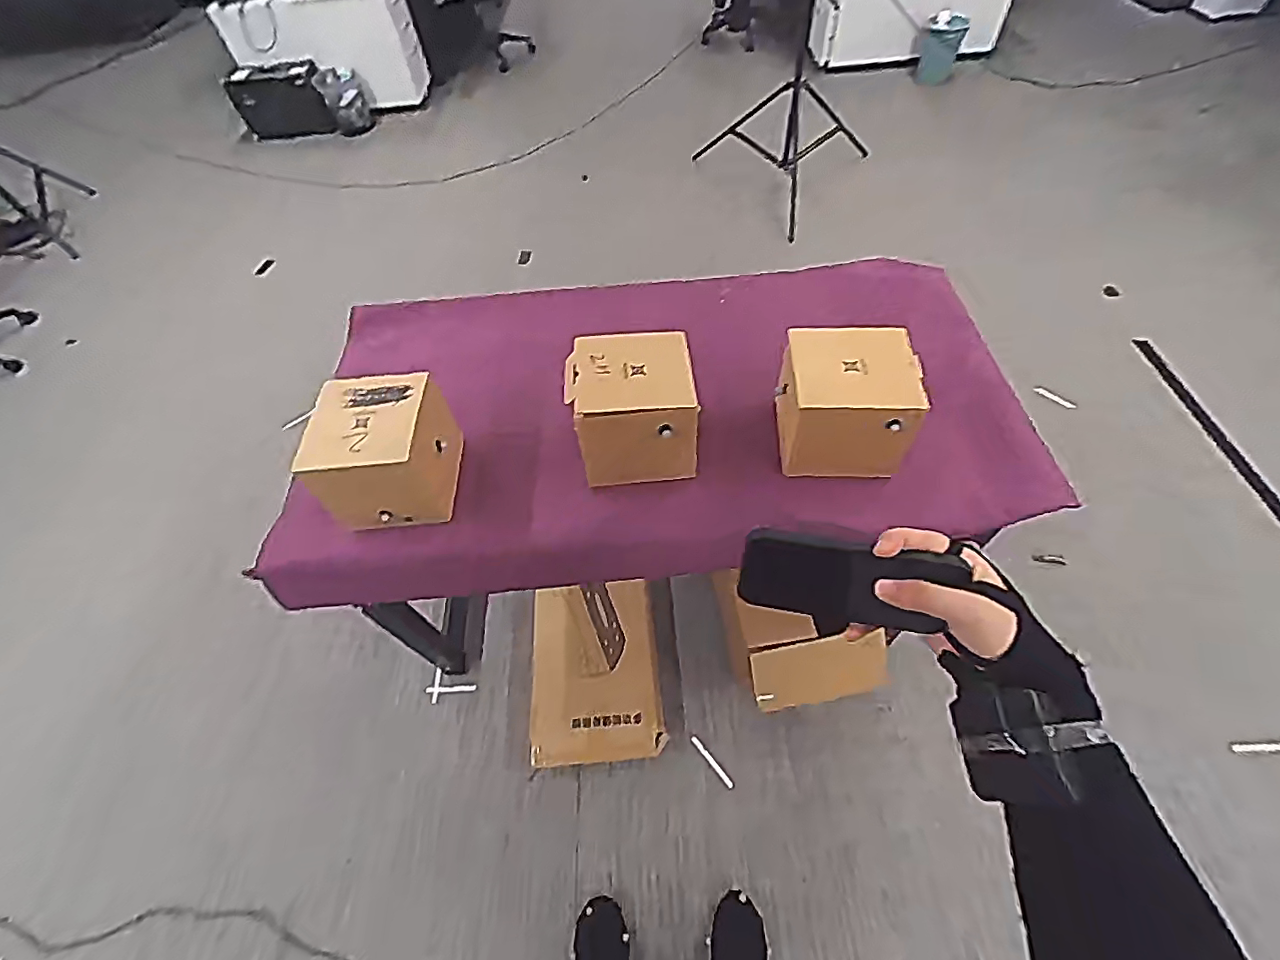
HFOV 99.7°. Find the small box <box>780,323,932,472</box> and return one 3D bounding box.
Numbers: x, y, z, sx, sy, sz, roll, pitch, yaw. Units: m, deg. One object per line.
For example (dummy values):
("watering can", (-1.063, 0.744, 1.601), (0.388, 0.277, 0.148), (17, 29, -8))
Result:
("small box", (0.318, -0.124, 0.841), (0.179, 0.176, 0.168), (0, 56, 5))

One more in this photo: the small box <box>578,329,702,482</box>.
("small box", (0.000, -0.114, 0.859), (0.179, 0.176, 0.168), (-6, 53, 1))
